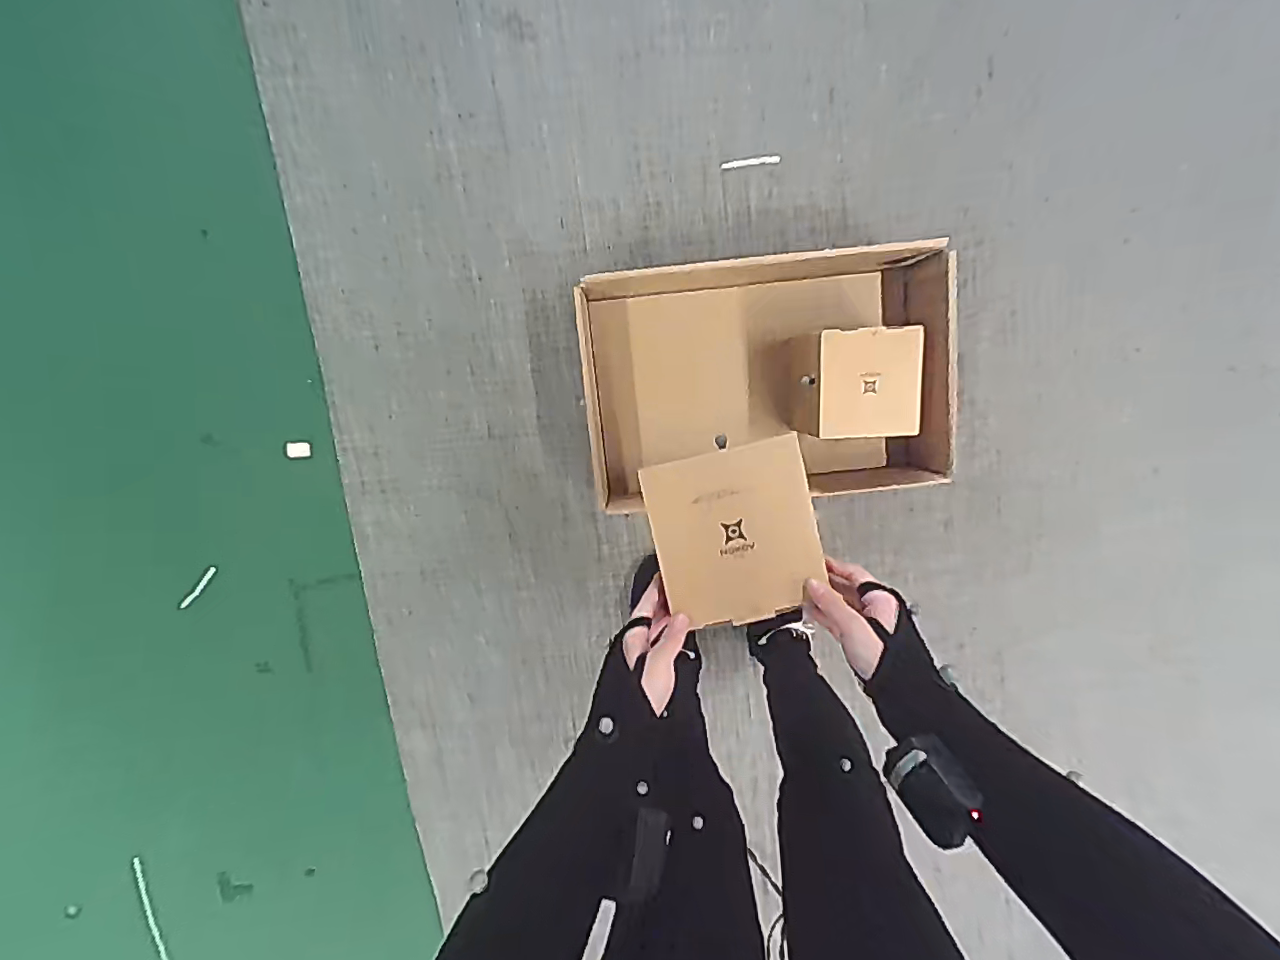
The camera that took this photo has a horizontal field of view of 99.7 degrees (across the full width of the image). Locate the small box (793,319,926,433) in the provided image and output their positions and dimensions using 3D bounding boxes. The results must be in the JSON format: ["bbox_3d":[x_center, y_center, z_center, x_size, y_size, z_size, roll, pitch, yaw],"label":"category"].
[{"bbox_3d":[0.371,-0.180,0.943,0.168,0.176,0.179,-3,99,1],"label":"small box"}]

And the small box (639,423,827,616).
[{"bbox_3d":[0.101,0.036,0.630,0.168,0.176,0.179,-13,92,4],"label":"small box"}]
